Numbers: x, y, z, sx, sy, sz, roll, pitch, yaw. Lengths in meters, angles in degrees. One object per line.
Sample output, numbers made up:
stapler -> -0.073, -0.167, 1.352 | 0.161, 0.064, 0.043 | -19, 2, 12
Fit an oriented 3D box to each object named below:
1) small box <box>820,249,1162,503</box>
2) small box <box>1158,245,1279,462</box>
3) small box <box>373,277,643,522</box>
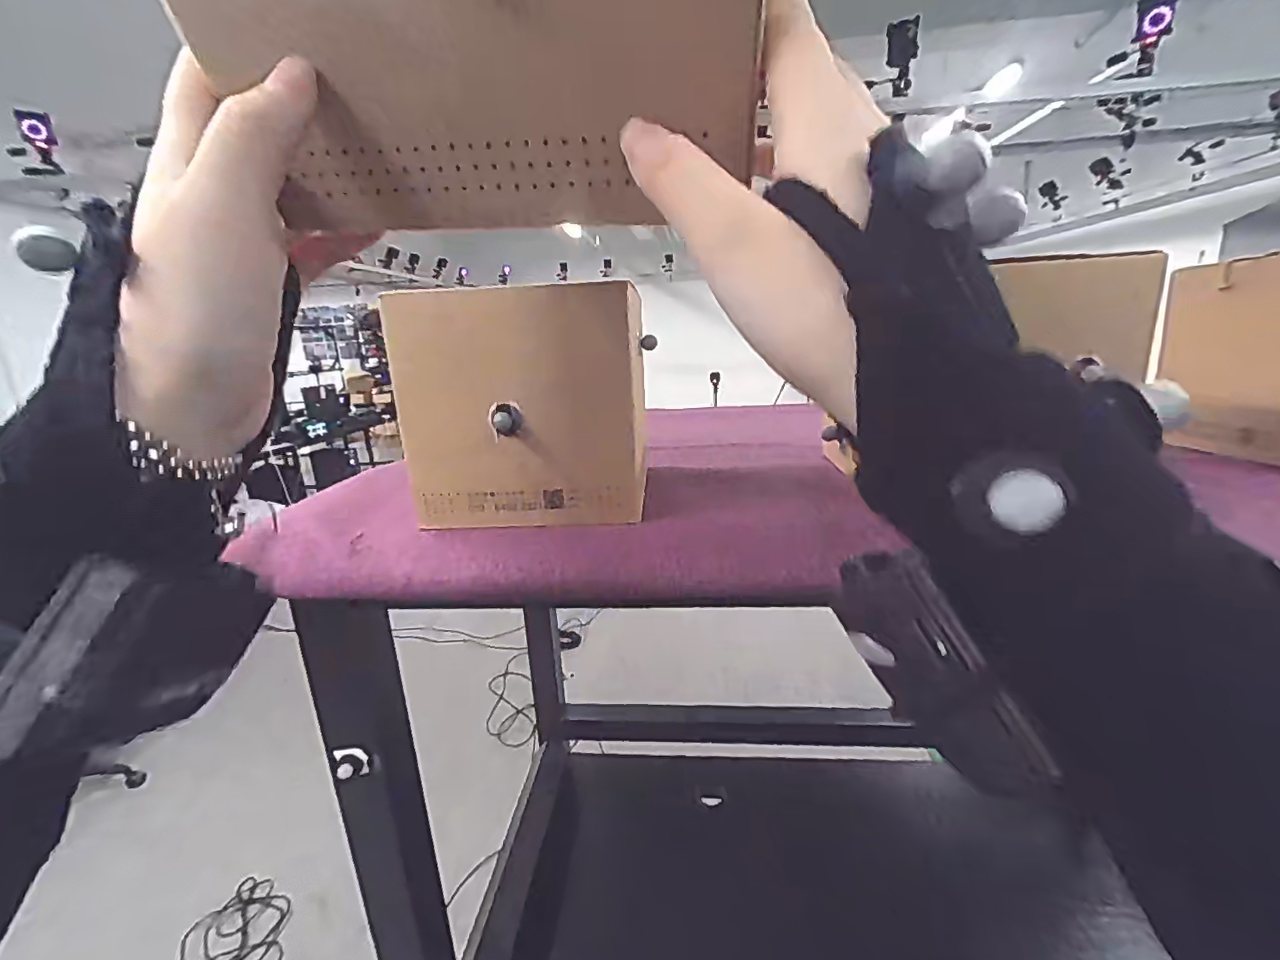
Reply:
small box -> 0.258, -0.085, 0.447 | 0.179, 0.176, 0.168 | -3, 15, 4
small box -> 0.580, -0.107, 0.442 | 0.179, 0.176, 0.168 | -2, 14, 7
small box -> -0.085, -0.068, 0.447 | 0.168, 0.176, 0.179 | -1, 16, 3
